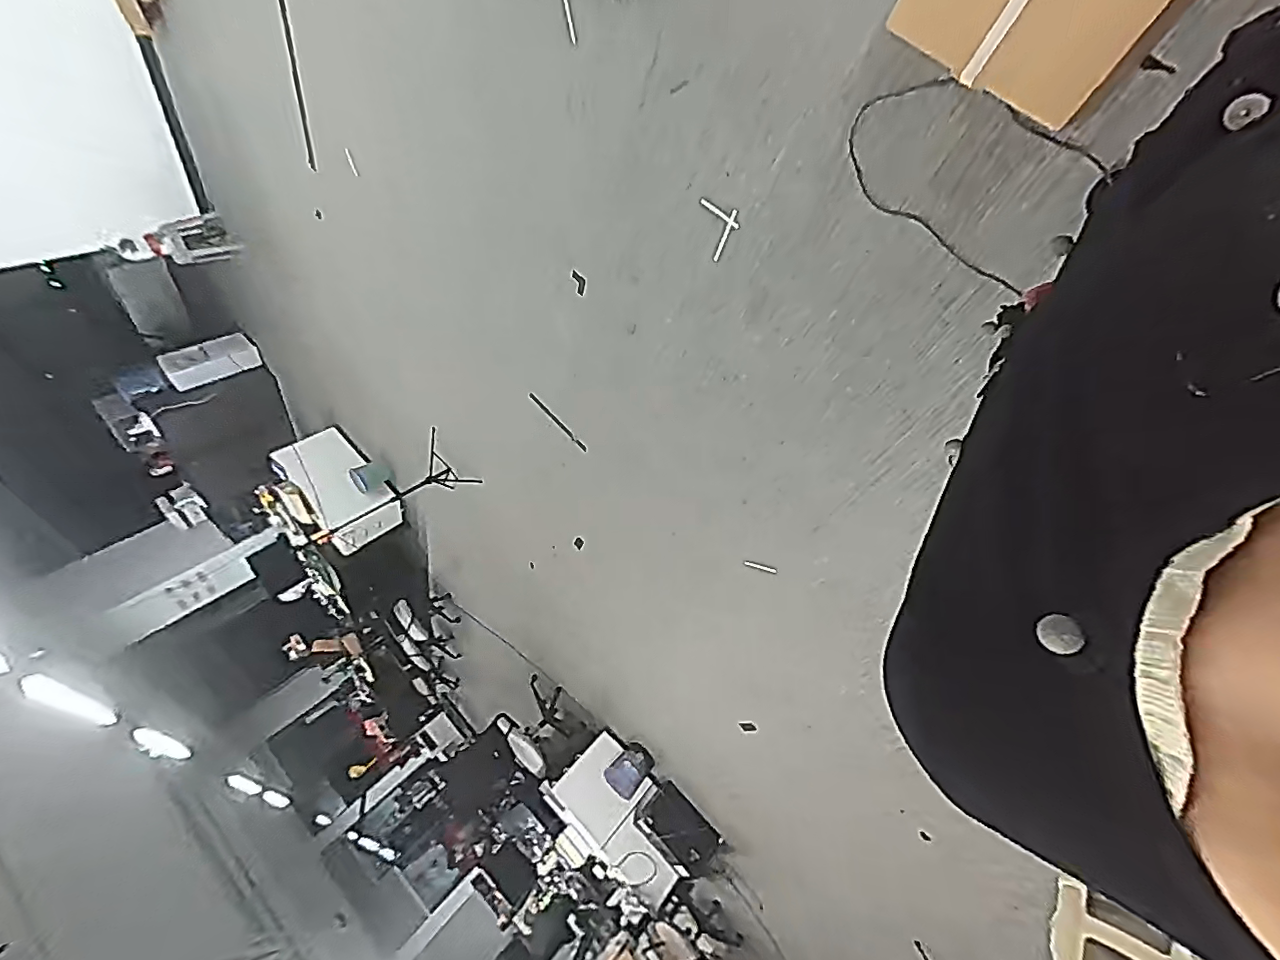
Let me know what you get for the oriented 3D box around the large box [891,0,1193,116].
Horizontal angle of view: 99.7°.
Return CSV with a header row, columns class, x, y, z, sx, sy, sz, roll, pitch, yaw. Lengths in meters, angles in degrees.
class,x,y,z,sx,sy,sz,roll,pitch,yaw
large box,0.630,-0.773,0.711,0.320,0.320,0.408,44,142,13
